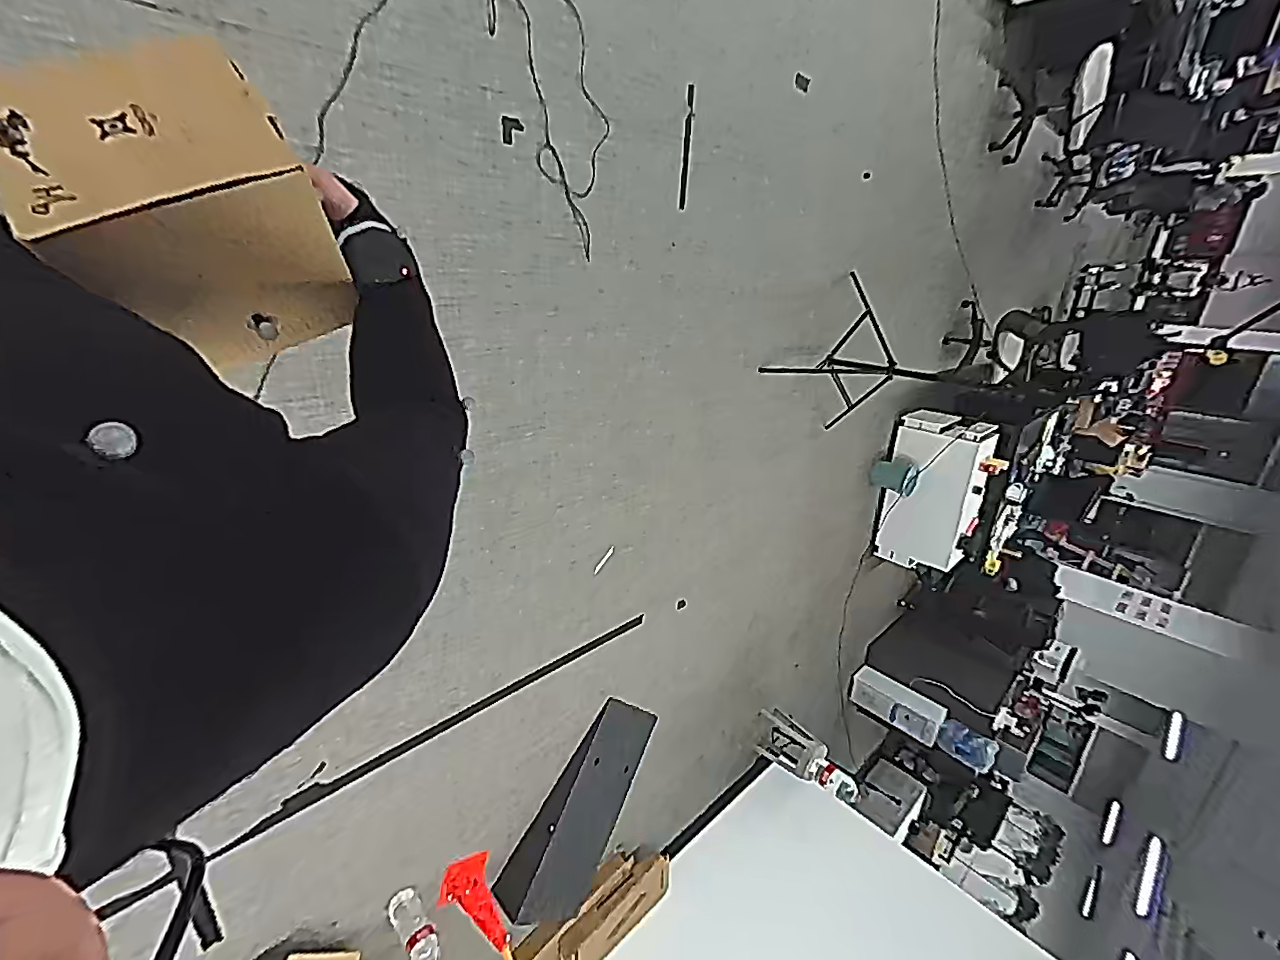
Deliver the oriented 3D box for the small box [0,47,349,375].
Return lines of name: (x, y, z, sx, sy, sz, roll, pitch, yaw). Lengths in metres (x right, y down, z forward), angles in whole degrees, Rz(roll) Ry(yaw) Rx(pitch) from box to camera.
small box: (-0.384, -0.226, 0.474, 0.179, 0.168, 0.176, -31, 165, -22)
